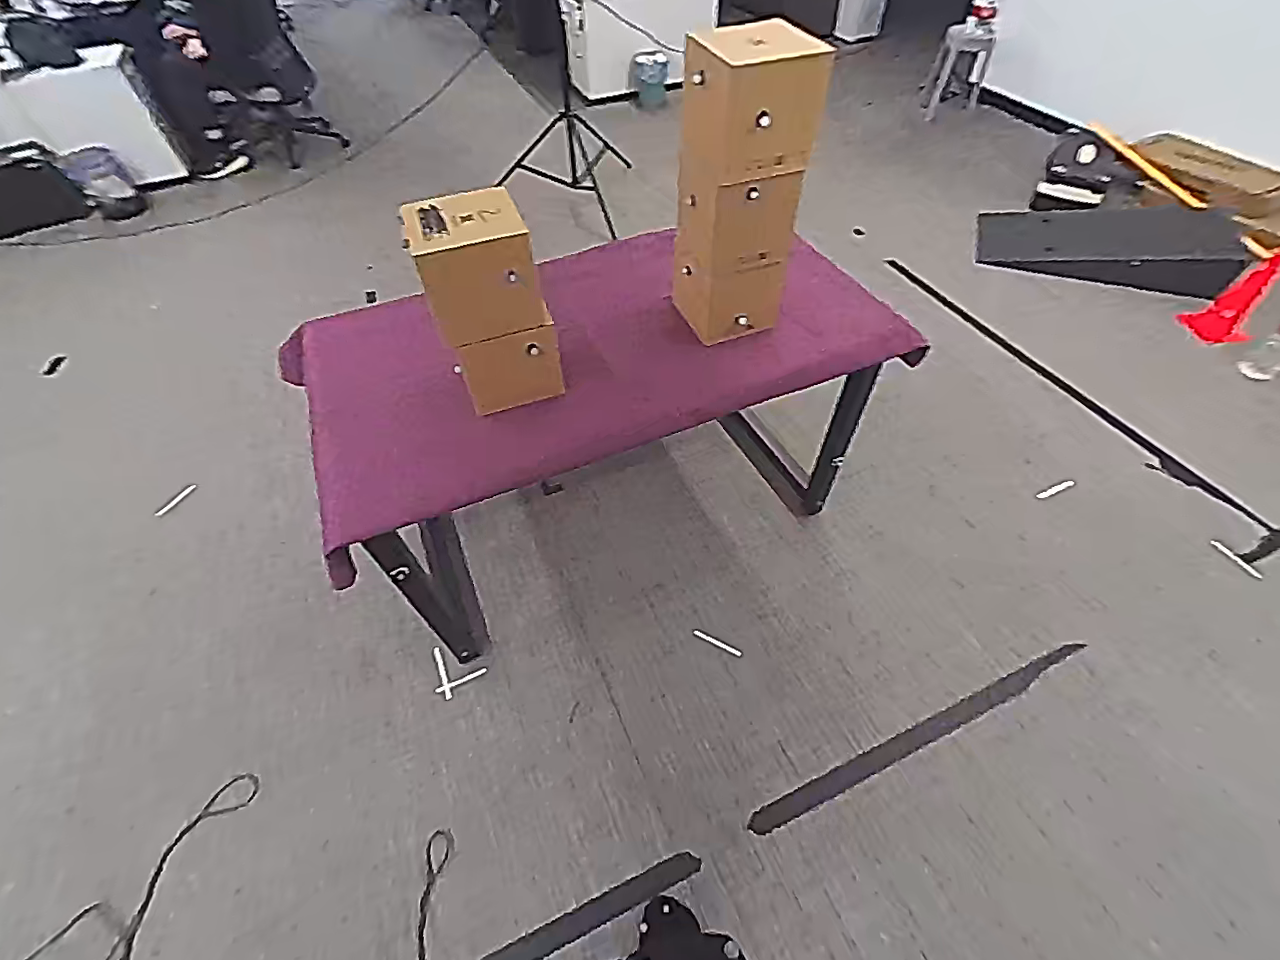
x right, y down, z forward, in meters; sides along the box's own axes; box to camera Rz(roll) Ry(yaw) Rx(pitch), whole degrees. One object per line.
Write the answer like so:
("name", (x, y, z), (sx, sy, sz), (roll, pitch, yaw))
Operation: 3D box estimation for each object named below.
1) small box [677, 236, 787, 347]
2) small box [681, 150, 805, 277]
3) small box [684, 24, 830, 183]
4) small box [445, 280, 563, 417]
("small box", (0.182, -0.413, 1.146), (0.168, 0.176, 0.179), (-19, 54, -11))
("small box", (0.180, -0.509, 1.013), (0.168, 0.176, 0.179), (-17, 53, -10))
("small box", (0.178, -0.604, 0.880), (0.168, 0.176, 0.179), (-17, 53, -10))
("small box", (-0.252, -0.249, 1.034), (0.179, 0.176, 0.168), (-18, 53, -11))
